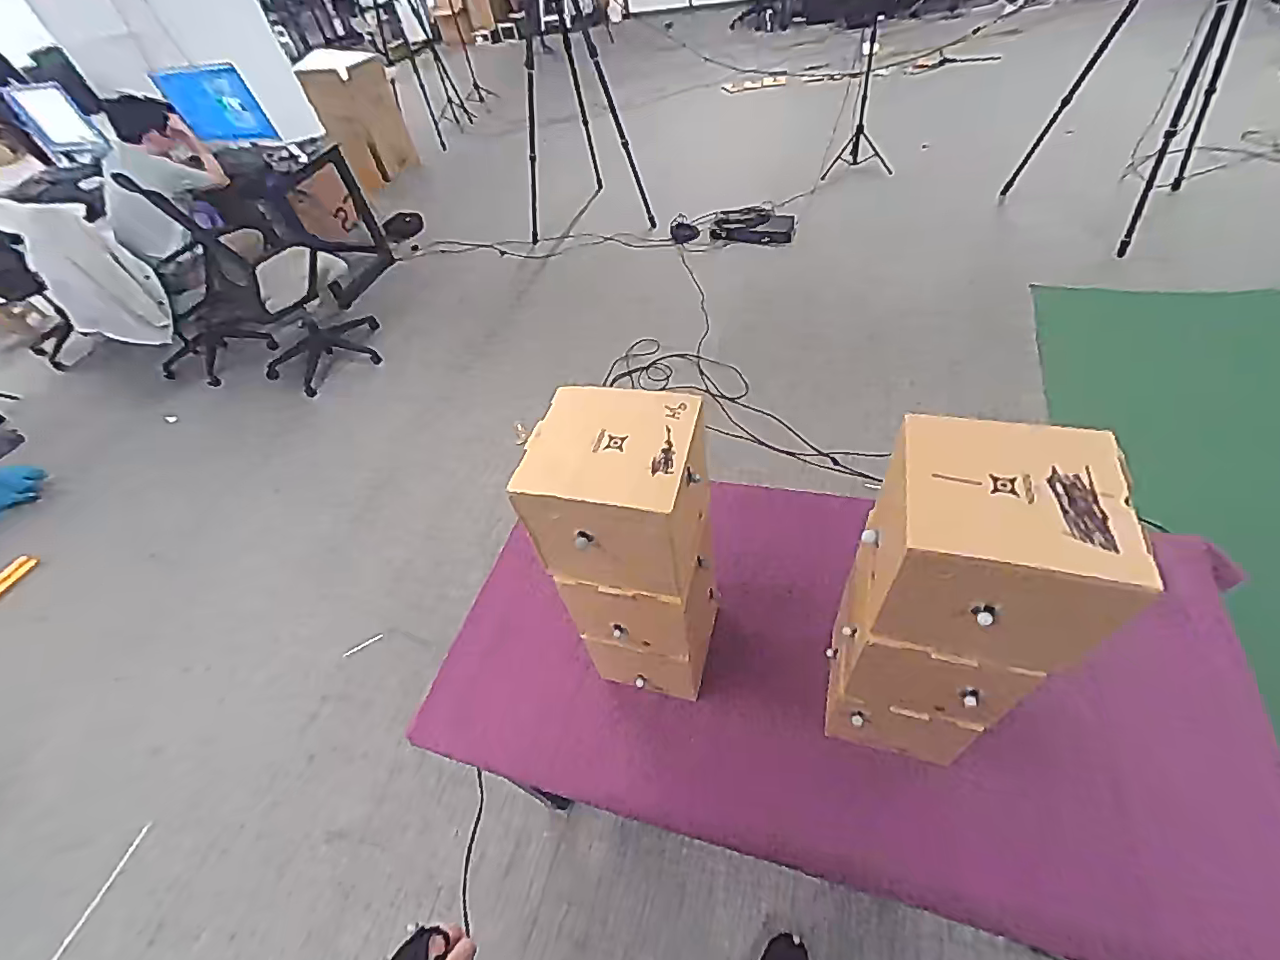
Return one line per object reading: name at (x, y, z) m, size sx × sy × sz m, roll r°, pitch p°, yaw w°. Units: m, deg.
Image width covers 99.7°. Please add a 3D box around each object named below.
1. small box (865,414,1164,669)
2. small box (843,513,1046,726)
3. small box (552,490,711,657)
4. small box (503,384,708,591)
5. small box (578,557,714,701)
small box at (0.328, 0.061, 0.517) m, size 0.179 × 0.176 × 0.168 m, roll 9°, pitch 51°, yaw 17°
small box at (0.342, 0.167, 0.642) m, size 0.168 × 0.176 × 0.179 m, roll 8°, pitch 51°, yaw 16°
small box at (0.001, 0.116, 0.744) m, size 0.168 × 0.176 × 0.179 m, roll 7°, pitch 52°, yaw 15°
small box at (-0.024, 0.010, 0.622) m, size 0.179 × 0.176 × 0.168 m, roll 7°, pitch 52°, yaw 16°
small box at (0.020, 0.223, 0.865) m, size 0.168 × 0.176 × 0.179 m, roll 8°, pitch 52°, yaw 17°
